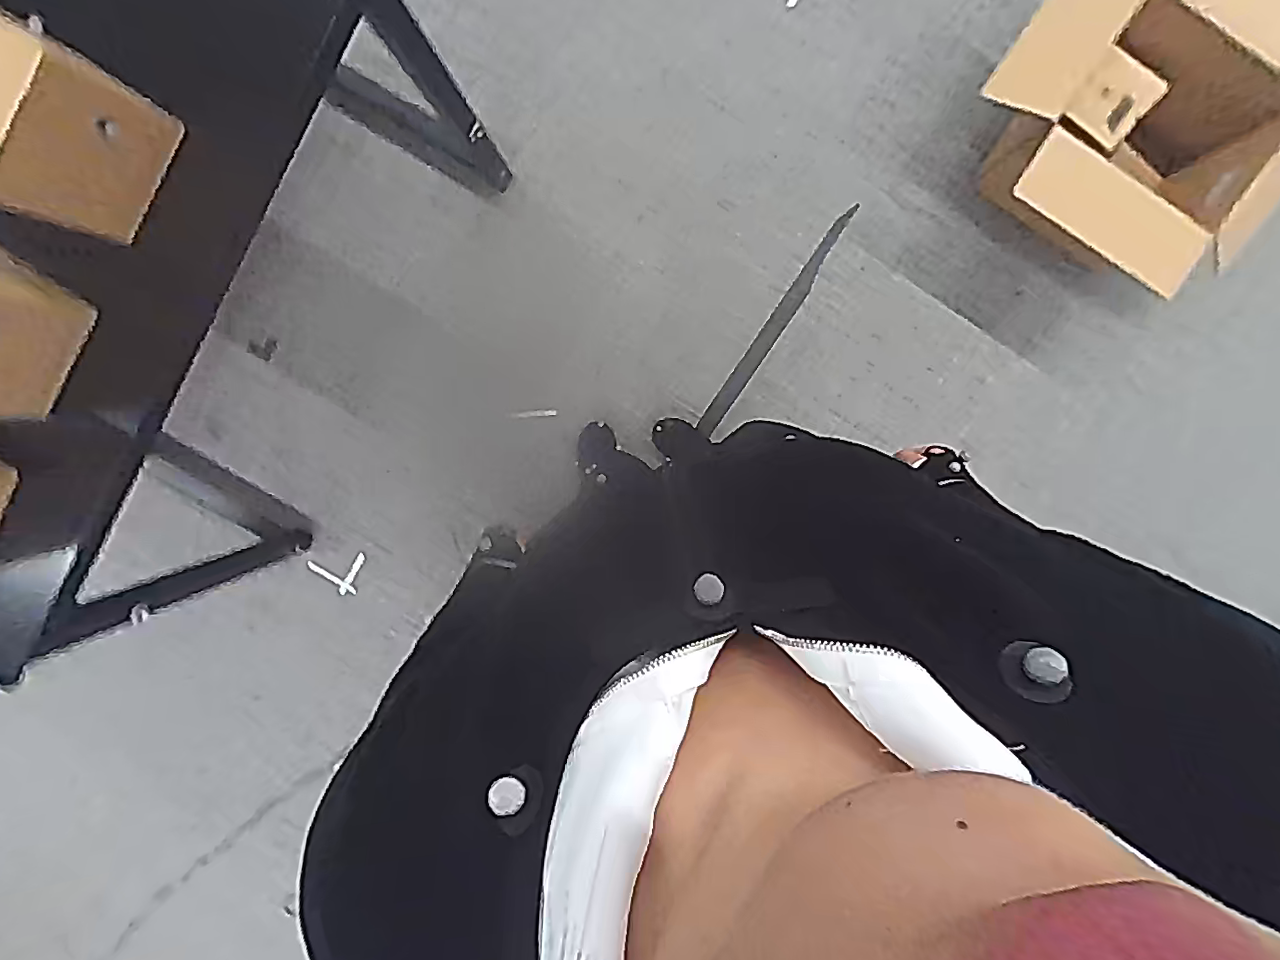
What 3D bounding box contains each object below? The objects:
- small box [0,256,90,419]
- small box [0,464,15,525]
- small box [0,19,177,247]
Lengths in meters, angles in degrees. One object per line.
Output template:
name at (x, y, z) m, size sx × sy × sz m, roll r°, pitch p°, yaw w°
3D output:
small box at (-0.865, -0.191, 0.677) m, size 0.168 × 0.176 × 0.179 m, roll 33°, pitch 97°, yaw -2°
small box at (-1.009, 0.039, 0.713) m, size 0.168 × 0.176 × 0.179 m, roll 30°, pitch 98°, yaw -2°
small box at (-0.716, -0.417, 0.644) m, size 0.168 × 0.176 × 0.179 m, roll 32°, pitch 97°, yaw 0°
